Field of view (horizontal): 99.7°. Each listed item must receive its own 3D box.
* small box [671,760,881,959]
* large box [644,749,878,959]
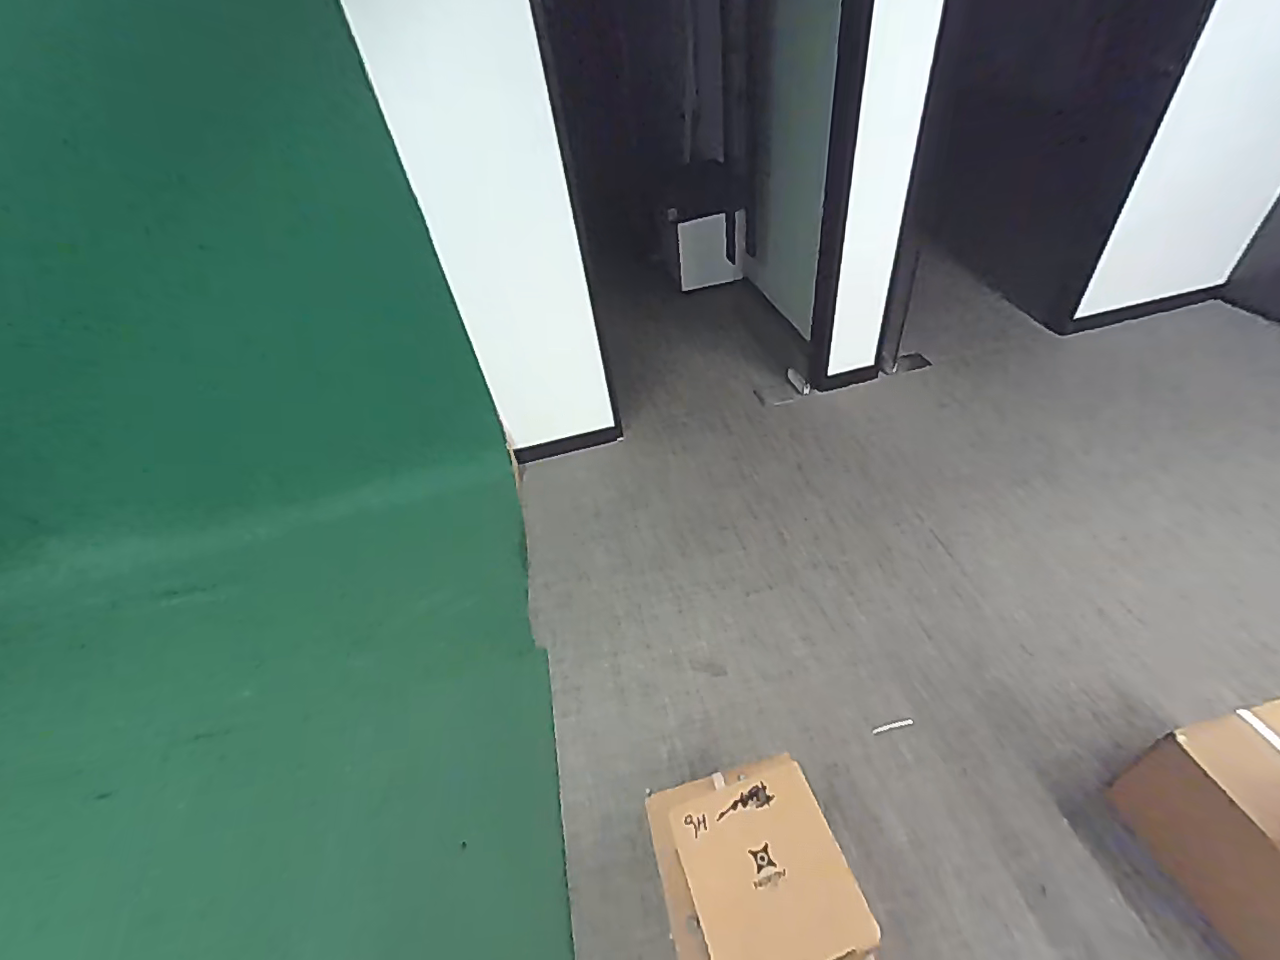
[{"bbox_3d":[0.146,0.464,0.625,0.168,0.176,0.179,-17,44,-7],"label":"small box"},{"bbox_3d":[0.222,0.830,1.064,0.320,0.320,0.408,-15,42,-5],"label":"large box"}]
